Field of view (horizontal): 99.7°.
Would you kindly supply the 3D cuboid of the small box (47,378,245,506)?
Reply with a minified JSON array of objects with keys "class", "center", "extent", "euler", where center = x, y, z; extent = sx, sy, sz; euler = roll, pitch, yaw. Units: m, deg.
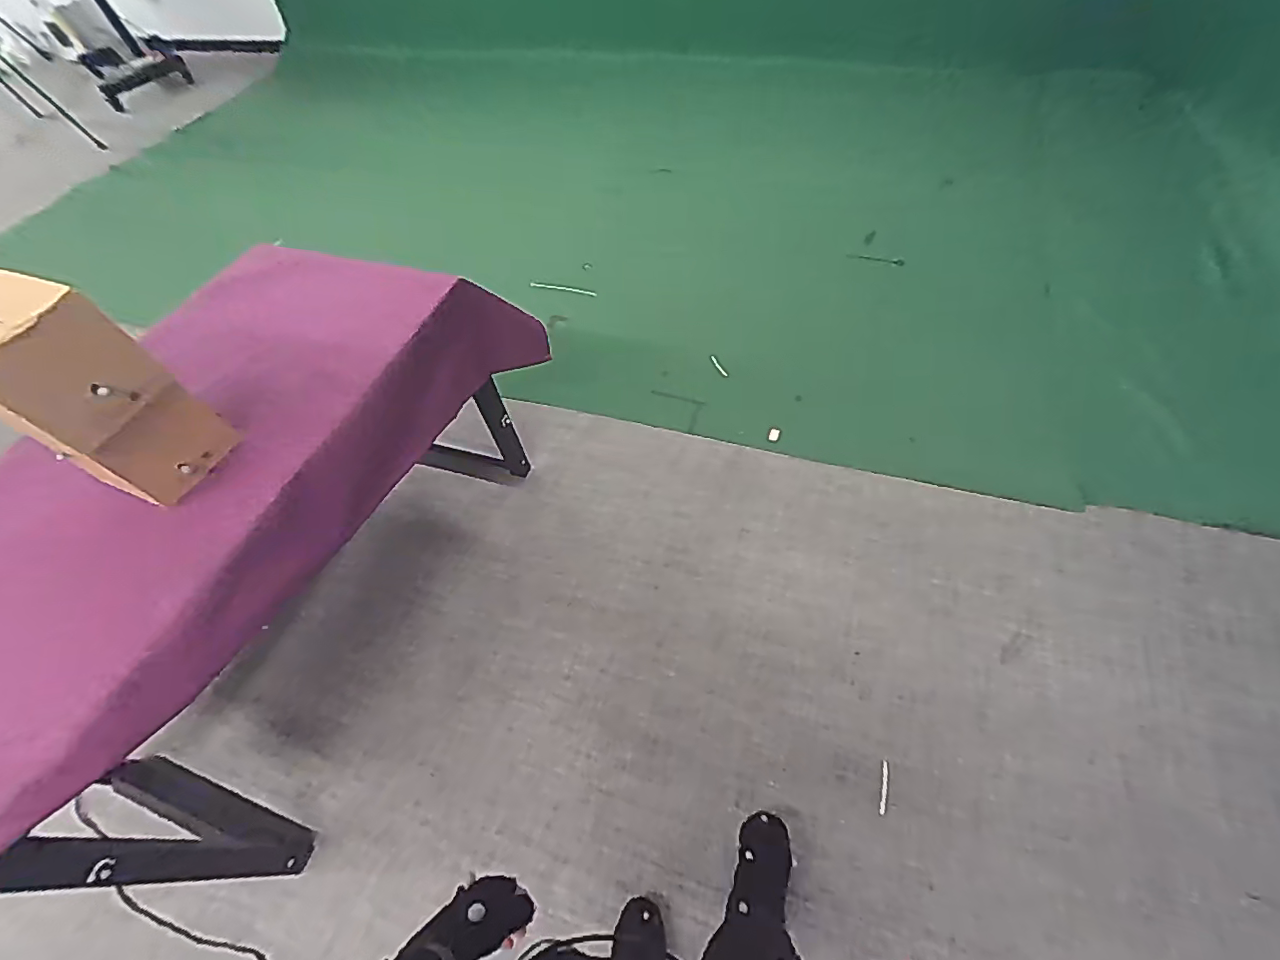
[{"class":"small box","center":[-0.838,-0.080,0.917],"extent":[0.179,0.176,0.168],"euler":[18,60,17]}]

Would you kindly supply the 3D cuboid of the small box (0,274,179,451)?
[{"class":"small box","center":[-0.839,-0.164,0.775],"extent":[0.179,0.176,0.168],"euler":[16,60,16]}]
